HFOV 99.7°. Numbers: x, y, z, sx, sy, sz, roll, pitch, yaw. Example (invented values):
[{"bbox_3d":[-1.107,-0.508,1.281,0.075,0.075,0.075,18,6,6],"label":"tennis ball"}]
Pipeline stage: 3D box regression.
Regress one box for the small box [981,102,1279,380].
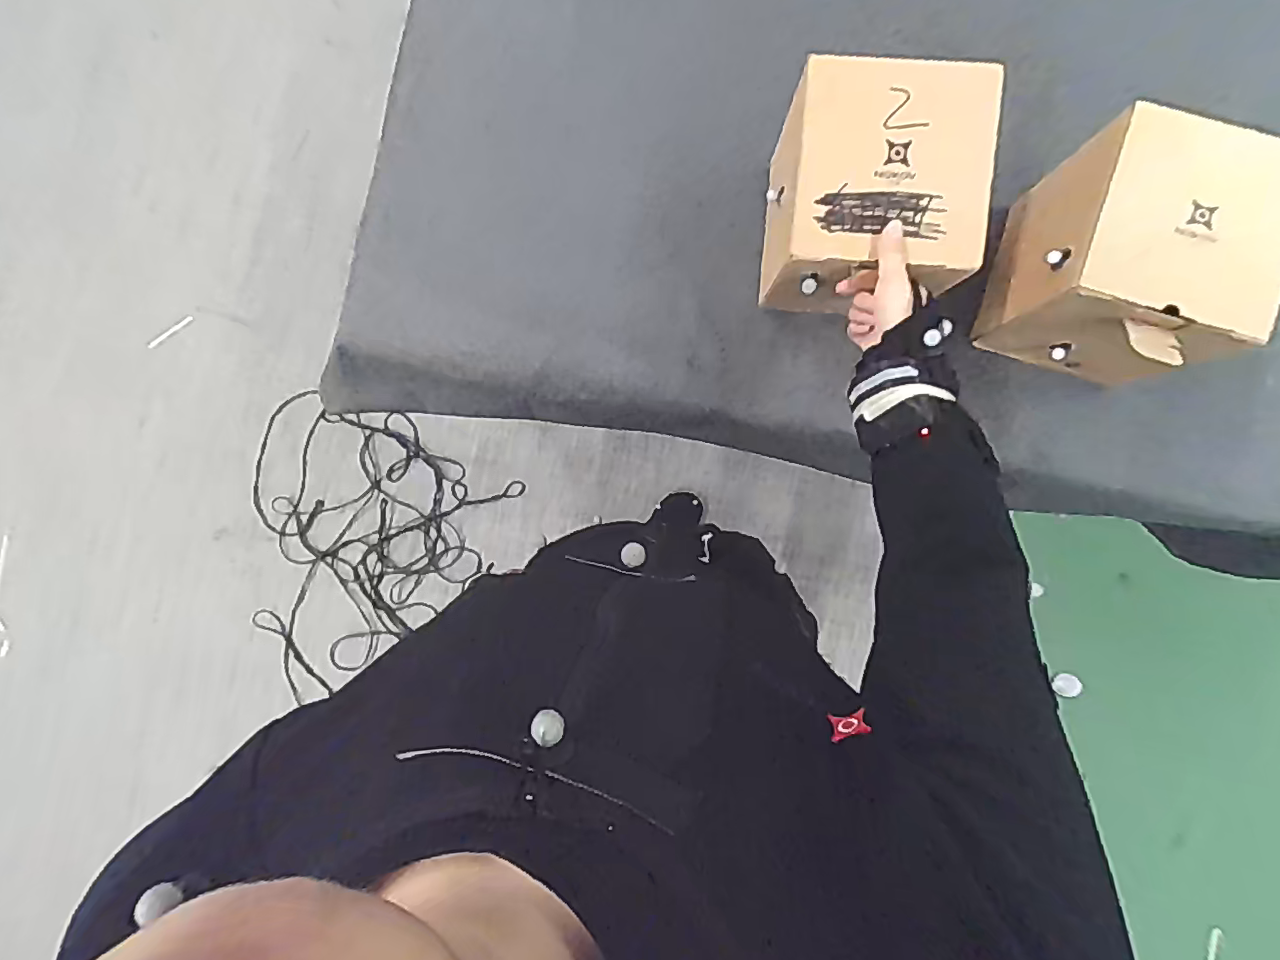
[{"bbox_3d":[0.484,-0.219,0.542,0.168,0.176,0.179,18,89,2],"label":"small box"}]
